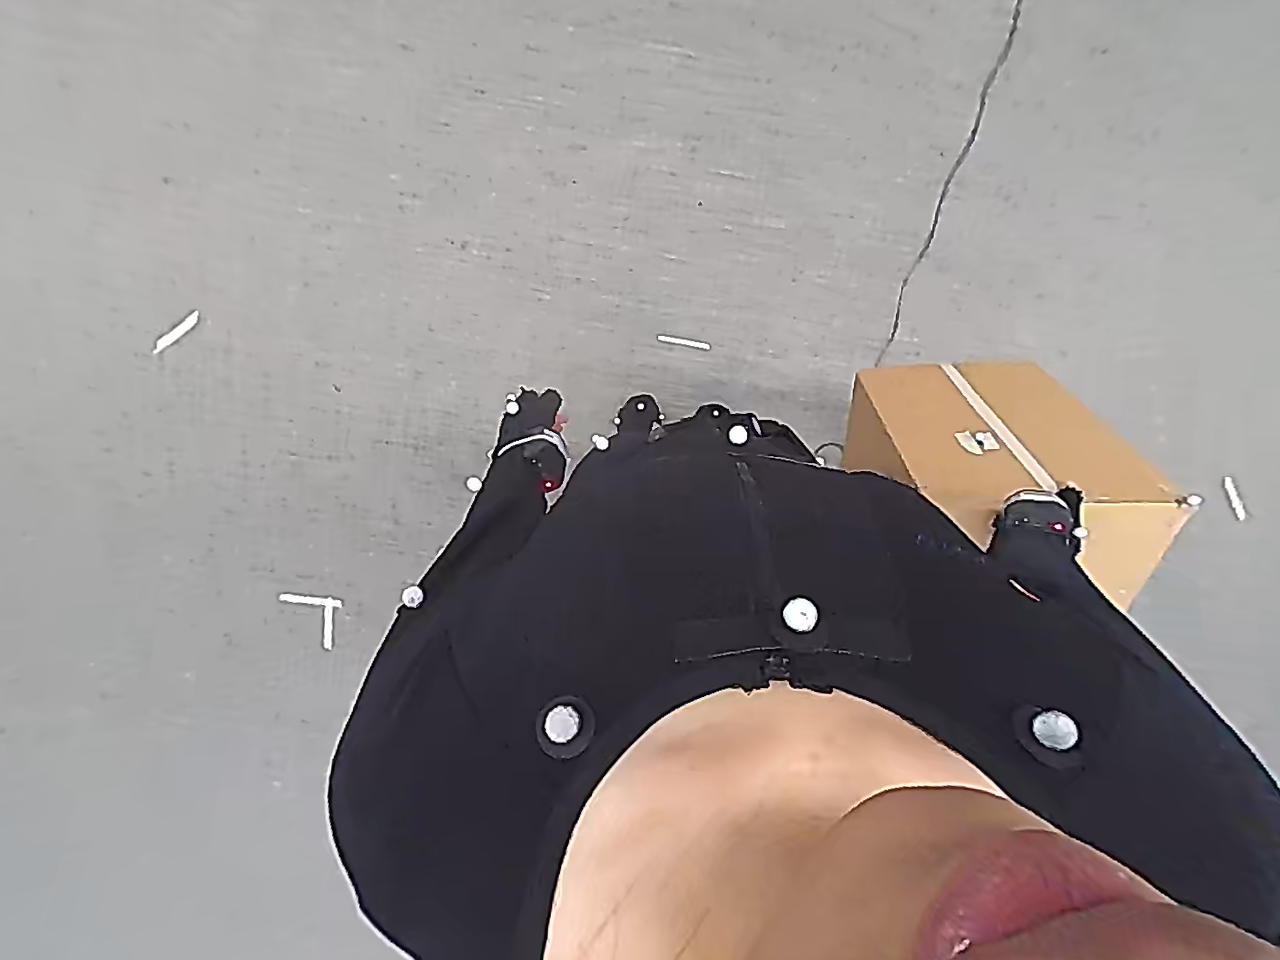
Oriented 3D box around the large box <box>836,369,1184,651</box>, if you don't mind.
[{"bbox_3d":[0.558,0.038,0.940,0.320,0.408,0.320,-2,127,7],"label":"large box"}]
